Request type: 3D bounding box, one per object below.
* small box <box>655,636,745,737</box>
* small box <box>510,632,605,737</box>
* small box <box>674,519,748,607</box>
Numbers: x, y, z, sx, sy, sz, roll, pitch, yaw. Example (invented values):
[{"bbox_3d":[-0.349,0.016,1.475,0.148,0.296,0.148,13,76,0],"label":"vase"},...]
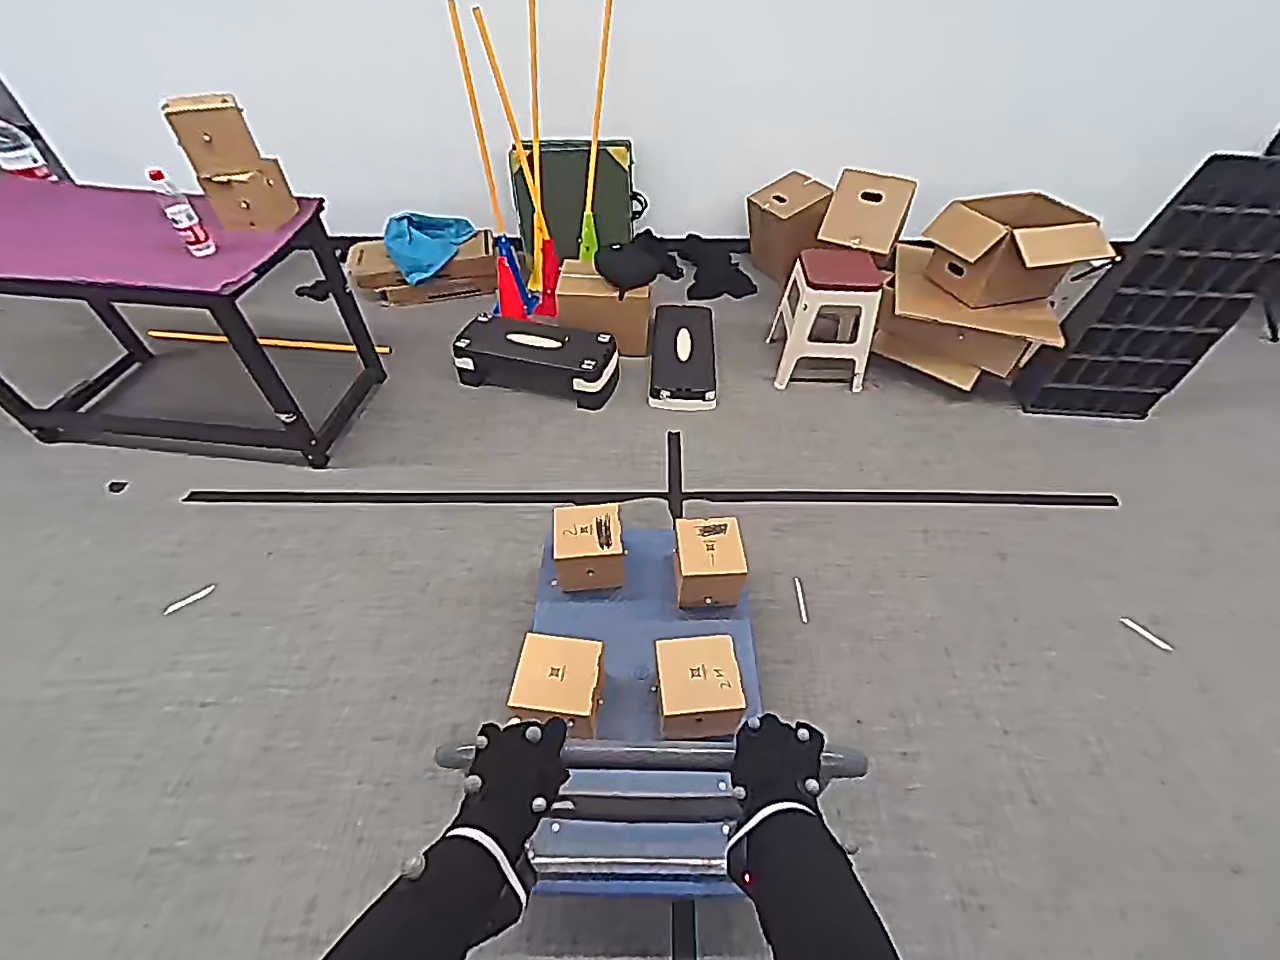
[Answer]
[{"bbox_3d":[0.128,0.473,1.231,0.179,0.176,0.168,-3,49,-3],"label":"small box"},{"bbox_3d":[-0.178,0.469,1.230,0.179,0.176,0.168,6,48,3],"label":"small box"},{"bbox_3d":[0.183,0.224,1.453,0.168,0.176,0.179,-2,49,-2],"label":"small box"}]
